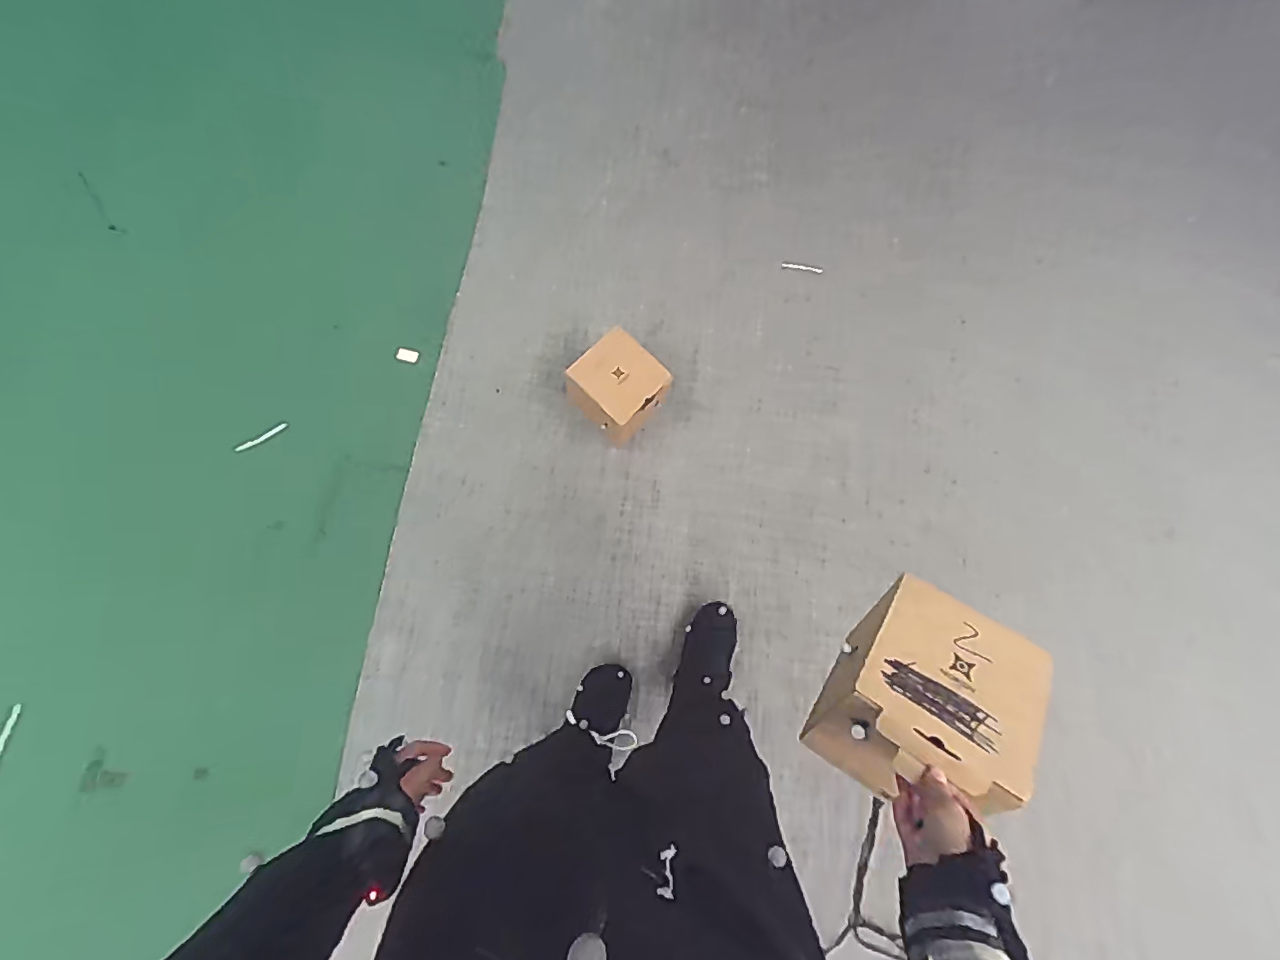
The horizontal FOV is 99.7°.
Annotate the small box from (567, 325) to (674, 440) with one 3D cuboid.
[{"bbox_3d":[-0.046,-0.210,1.238,0.179,0.176,0.168,43,77,6],"label":"small box"}]
